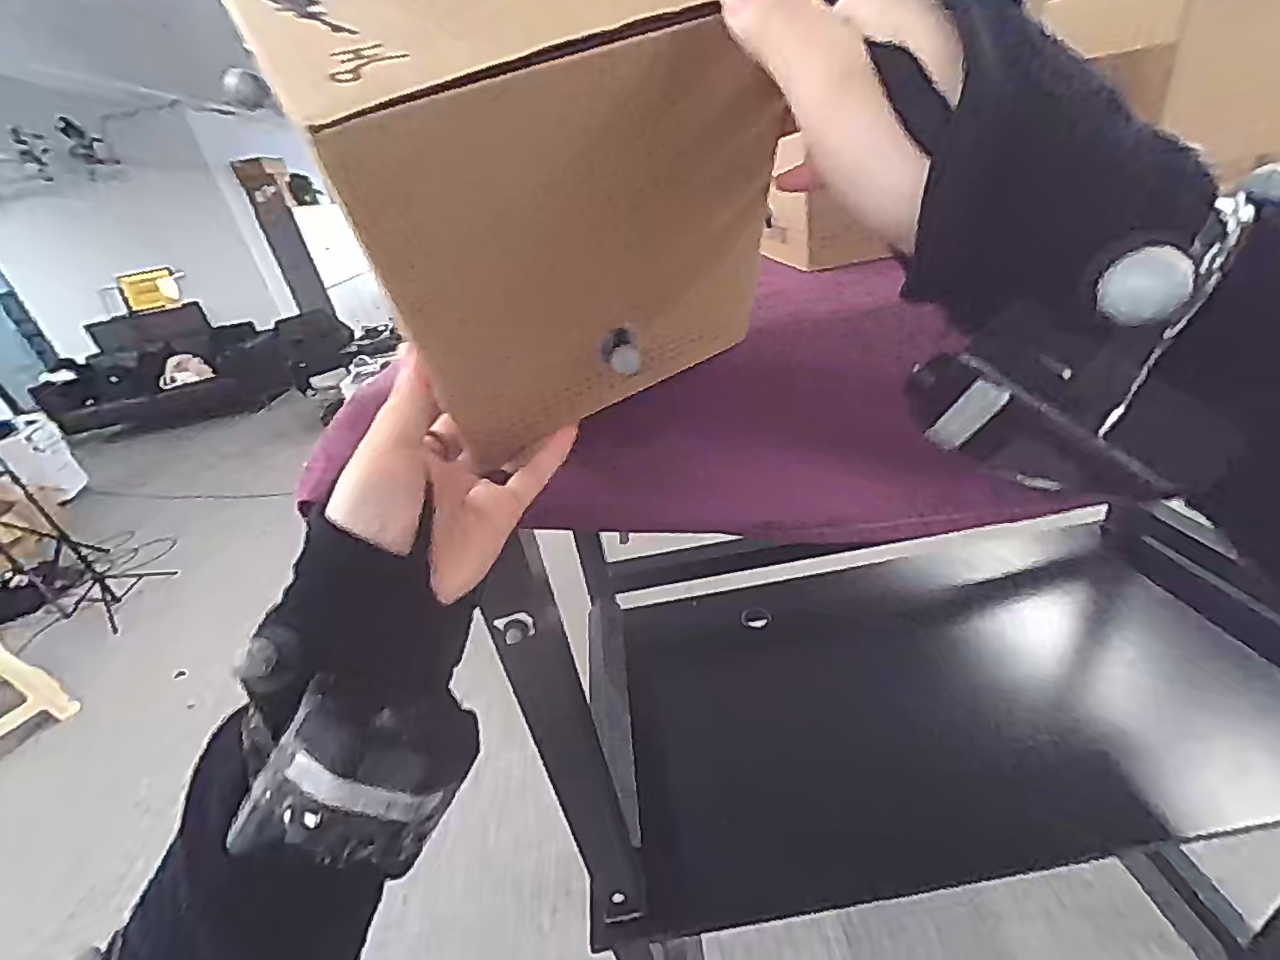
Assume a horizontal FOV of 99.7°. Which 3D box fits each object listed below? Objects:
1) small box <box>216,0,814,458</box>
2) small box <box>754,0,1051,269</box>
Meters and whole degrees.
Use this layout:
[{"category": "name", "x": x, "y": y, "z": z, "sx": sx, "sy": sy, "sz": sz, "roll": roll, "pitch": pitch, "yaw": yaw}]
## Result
[{"category": "small box", "x": -0.056, "y": -0.143, "z": 0.256, "sx": 0.179, "sy": 0.176, "sz": 0.168, "roll": -28, "pitch": 61, "yaw": -16}, {"category": "small box", "x": 0.198, "y": -0.294, "z": 0.467, "sx": 0.179, "sy": 0.176, "sz": 0.168, "roll": -11, "pitch": 28, "yaw": 0}]
